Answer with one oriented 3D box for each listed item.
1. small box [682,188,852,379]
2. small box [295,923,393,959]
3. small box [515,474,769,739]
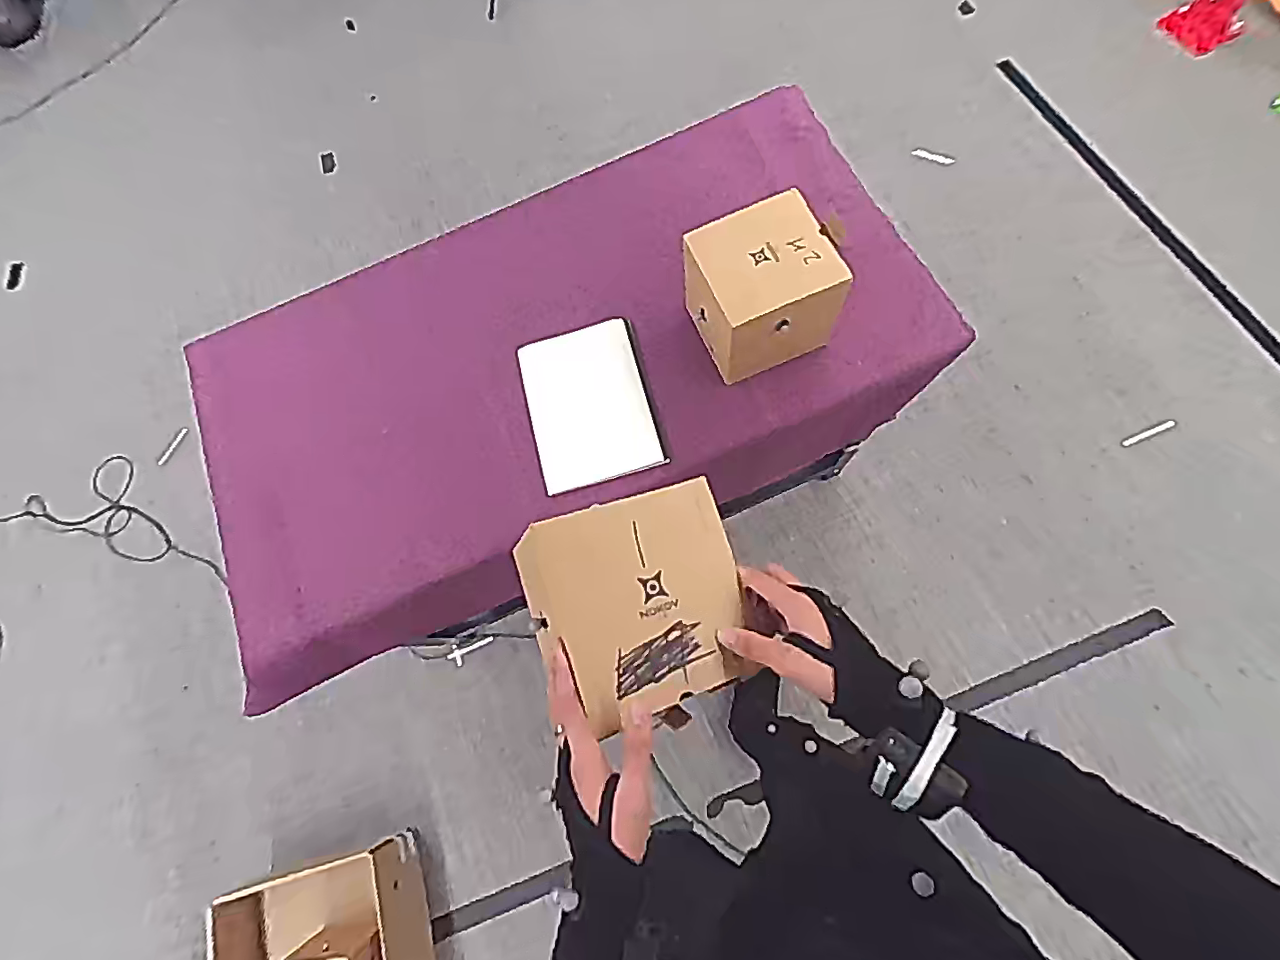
[{"bbox_3d":[0.175,-0.275,0.791,0.179,0.176,0.168,-23,72,-1],"label":"small box"},{"bbox_3d":[-0.663,1.116,1.189,0.179,0.176,0.168,-11,73,3],"label":"small box"},{"bbox_3d":[-0.013,0.112,0.513,0.168,0.176,0.179,-15,80,-22],"label":"small box"}]
